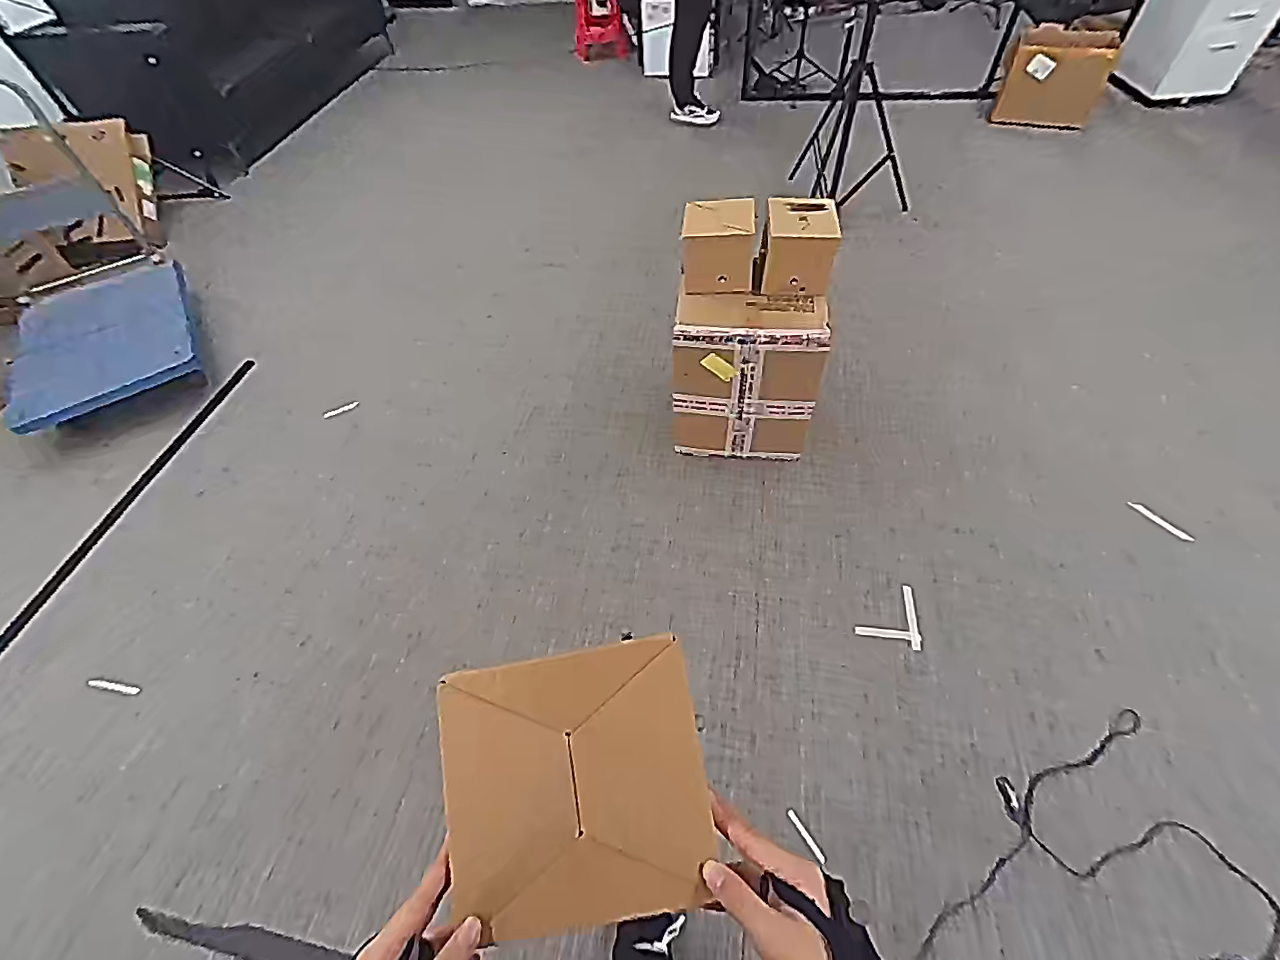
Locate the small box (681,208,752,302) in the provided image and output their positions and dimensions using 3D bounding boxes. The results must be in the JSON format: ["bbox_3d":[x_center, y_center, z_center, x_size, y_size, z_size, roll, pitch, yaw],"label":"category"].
[{"bbox_3d":[0.204,-0.594,1.425,0.179,0.176,0.168,2,54,9],"label":"small box"}]

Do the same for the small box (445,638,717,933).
[{"bbox_3d":[-0.045,0.227,0.445,0.179,0.176,0.168,-10,75,-1],"label":"small box"}]
